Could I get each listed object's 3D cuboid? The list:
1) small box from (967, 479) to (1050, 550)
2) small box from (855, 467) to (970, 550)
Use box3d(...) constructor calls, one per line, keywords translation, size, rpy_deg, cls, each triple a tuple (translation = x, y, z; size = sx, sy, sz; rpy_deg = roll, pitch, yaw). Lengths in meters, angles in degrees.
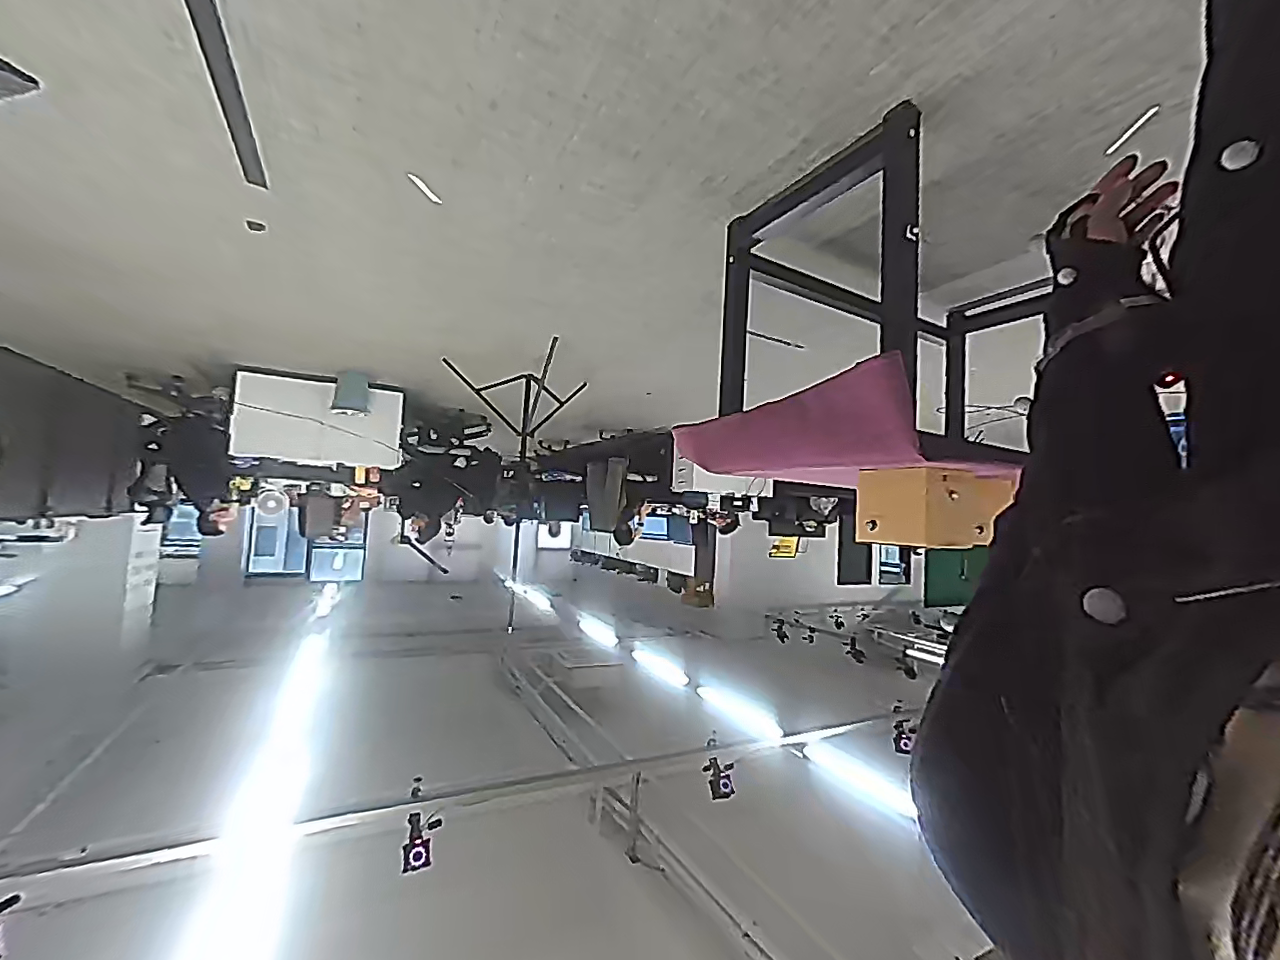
box3d(translation=(0.931, 0.089, 1.408), size=(0.168, 0.176, 0.179), rpy_deg=(4, 175, -24), cls="small box")
box3d(translation=(0.607, 0.064, 1.205), size=(0.168, 0.176, 0.179), rpy_deg=(3, 177, -28), cls="small box")
